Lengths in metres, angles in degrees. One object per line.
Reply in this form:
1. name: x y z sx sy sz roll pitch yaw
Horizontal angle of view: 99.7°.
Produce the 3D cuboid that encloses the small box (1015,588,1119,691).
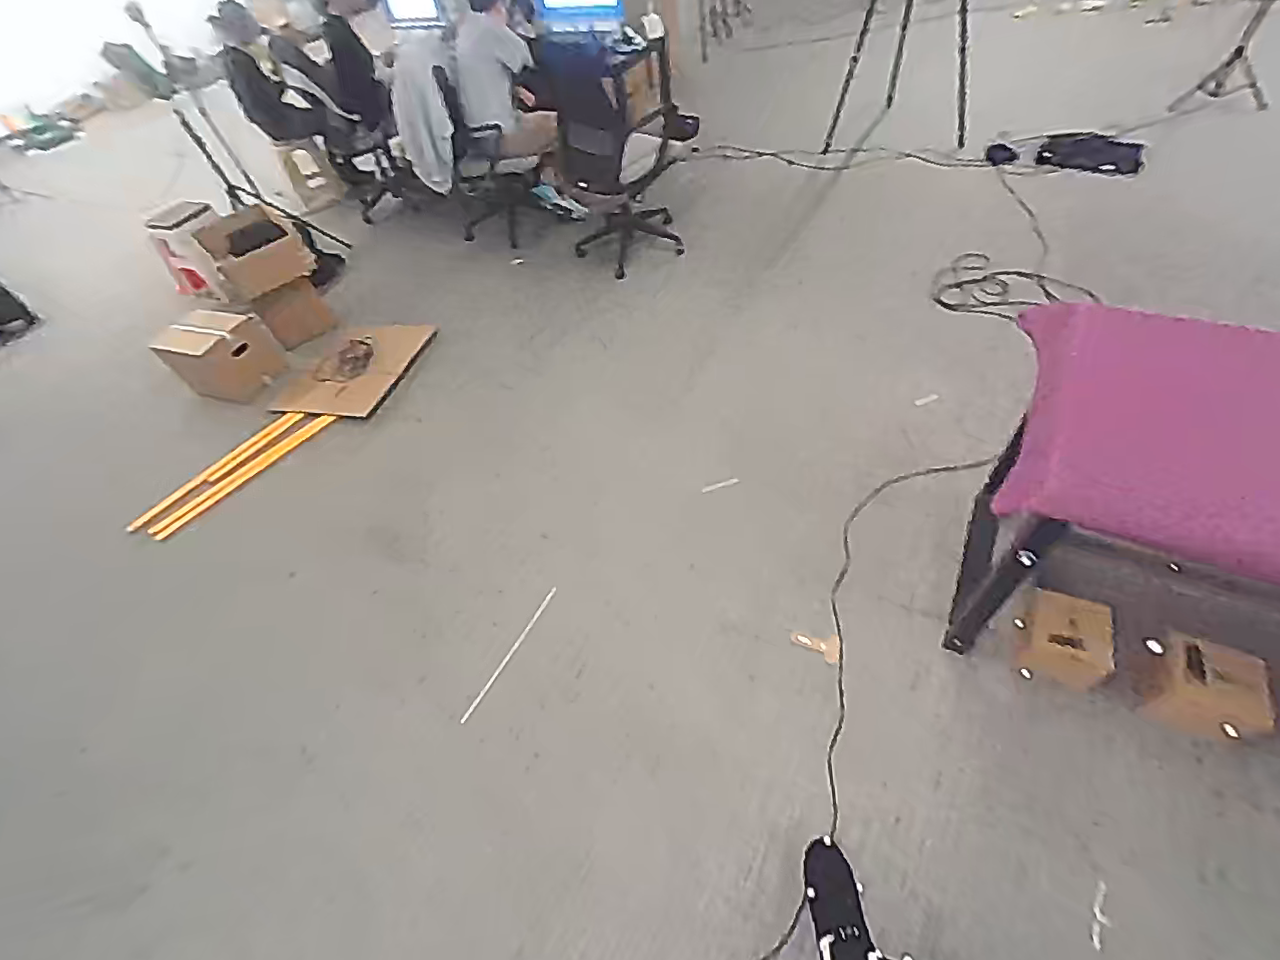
1. small box: 1.092 0.414 1.391 0.168 0.176 0.179 15 56 22
